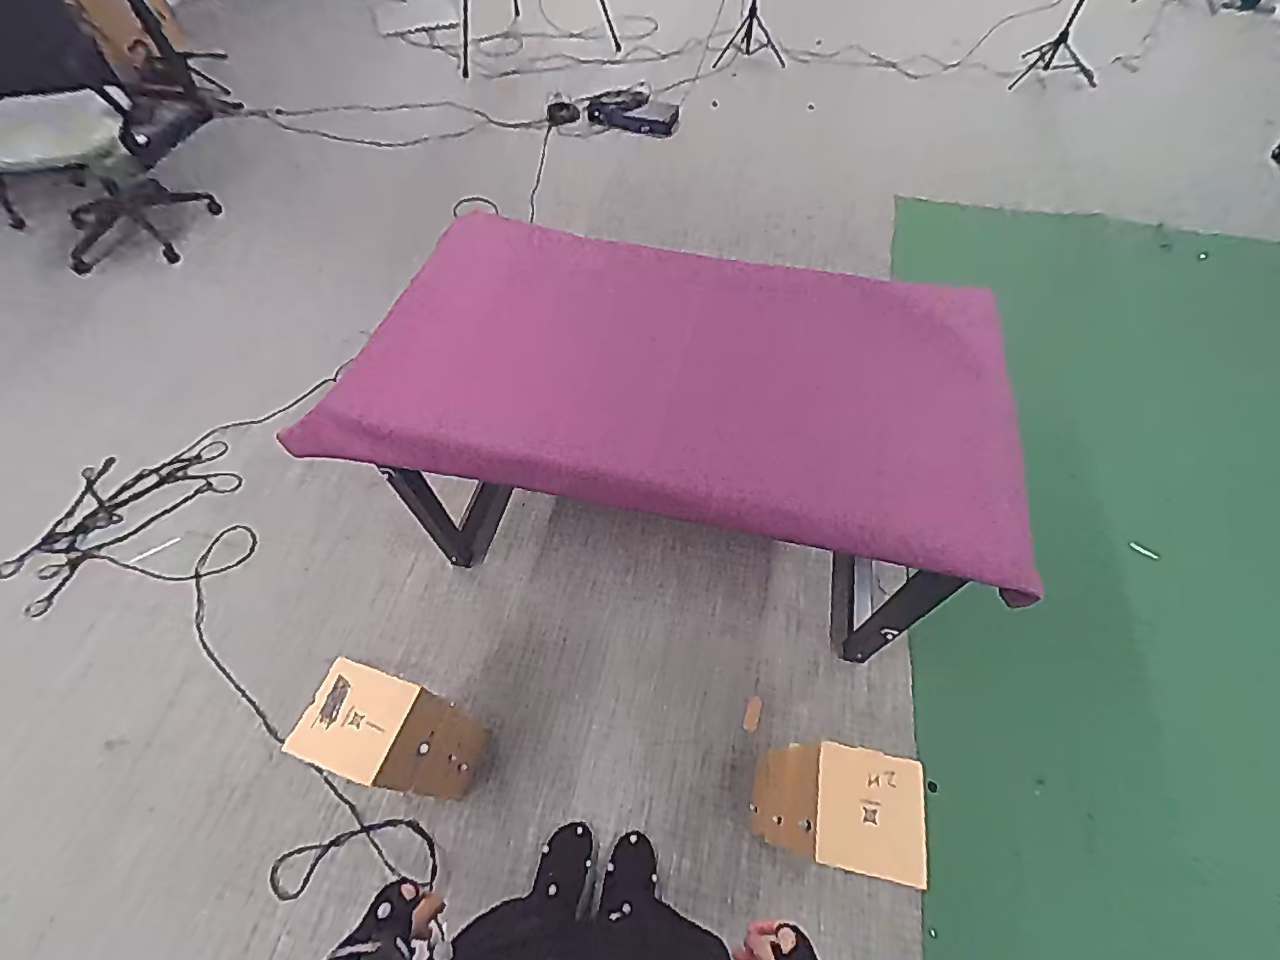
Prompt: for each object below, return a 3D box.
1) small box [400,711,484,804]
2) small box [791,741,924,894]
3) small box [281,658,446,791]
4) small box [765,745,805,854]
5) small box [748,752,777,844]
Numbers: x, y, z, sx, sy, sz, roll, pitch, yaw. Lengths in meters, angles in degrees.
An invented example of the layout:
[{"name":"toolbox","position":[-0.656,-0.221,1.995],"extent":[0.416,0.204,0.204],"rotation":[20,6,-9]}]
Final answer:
[{"name":"small box","position":[-0.485,0.635,1.262],"extent":[0.168,0.176,0.179],"rotation":[14,59,10]},{"name":"small box","position":[0.358,0.563,0.914],"extent":[0.168,0.176,0.179],"rotation":[11,59,7]},{"name":"small box","position":[-0.490,0.452,0.988],"extent":[0.179,0.176,0.168],"rotation":[16,59,10]},{"name":"small box","position":[0.348,0.639,1.060],"extent":[0.168,0.176,0.179],"rotation":[10,60,7]},{"name":"small box","position":[0.344,0.723,1.198],"extent":[0.179,0.176,0.168],"rotation":[12,59,8]}]
